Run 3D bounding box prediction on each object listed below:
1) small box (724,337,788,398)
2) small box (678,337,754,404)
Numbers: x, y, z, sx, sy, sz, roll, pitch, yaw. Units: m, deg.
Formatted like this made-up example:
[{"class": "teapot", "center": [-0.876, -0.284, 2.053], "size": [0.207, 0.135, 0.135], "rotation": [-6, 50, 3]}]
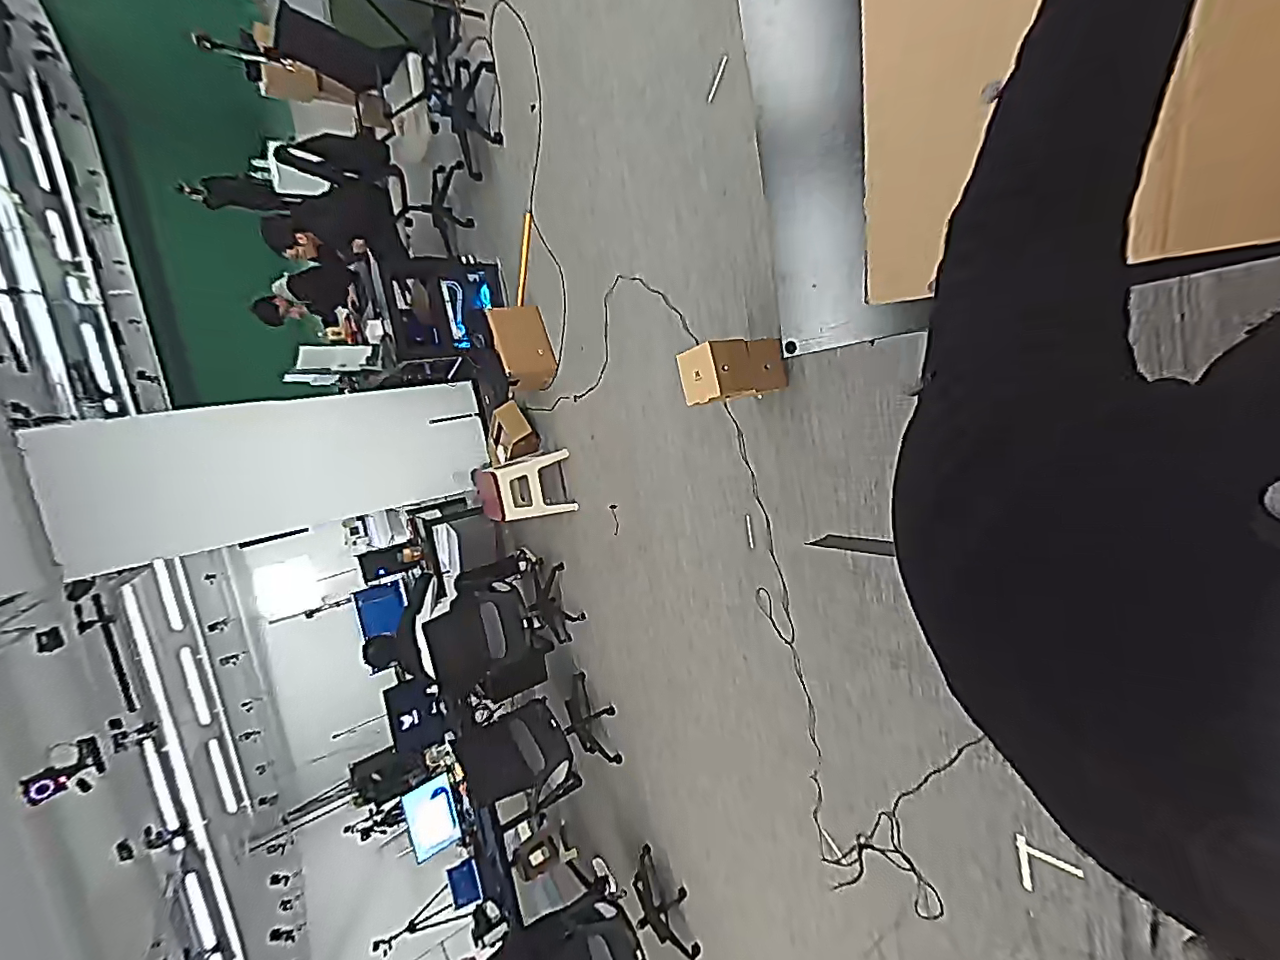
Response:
[{"class": "small box", "center": [0.387, -0.391, 1.872], "size": [0.168, 0.176, 0.179], "rotation": [-5, 99, 56]}, {"class": "small box", "center": [0.255, -0.362, 1.781], "size": [0.168, 0.176, 0.179], "rotation": [-10, 92, 55]}]
